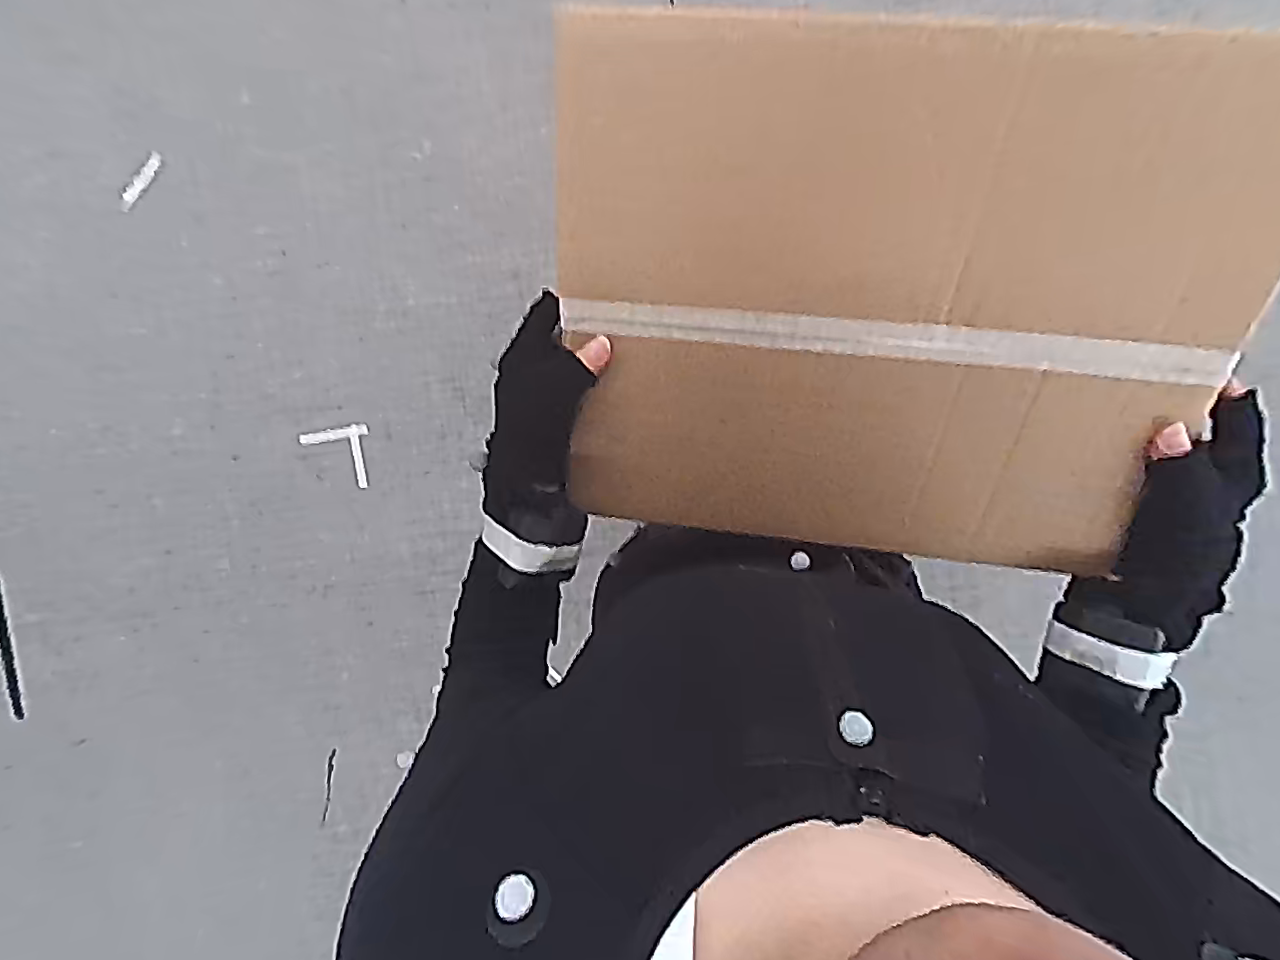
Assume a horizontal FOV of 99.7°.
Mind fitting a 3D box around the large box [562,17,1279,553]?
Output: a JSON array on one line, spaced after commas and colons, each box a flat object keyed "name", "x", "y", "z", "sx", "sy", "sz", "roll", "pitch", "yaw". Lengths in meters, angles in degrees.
[{"name": "large box", "x": 0.164, "y": -0.167, "z": 0.480, "sx": 0.408, "sy": 0.320, "sz": 0.320, "roll": 7, "pitch": 120, "yaw": 5}]
